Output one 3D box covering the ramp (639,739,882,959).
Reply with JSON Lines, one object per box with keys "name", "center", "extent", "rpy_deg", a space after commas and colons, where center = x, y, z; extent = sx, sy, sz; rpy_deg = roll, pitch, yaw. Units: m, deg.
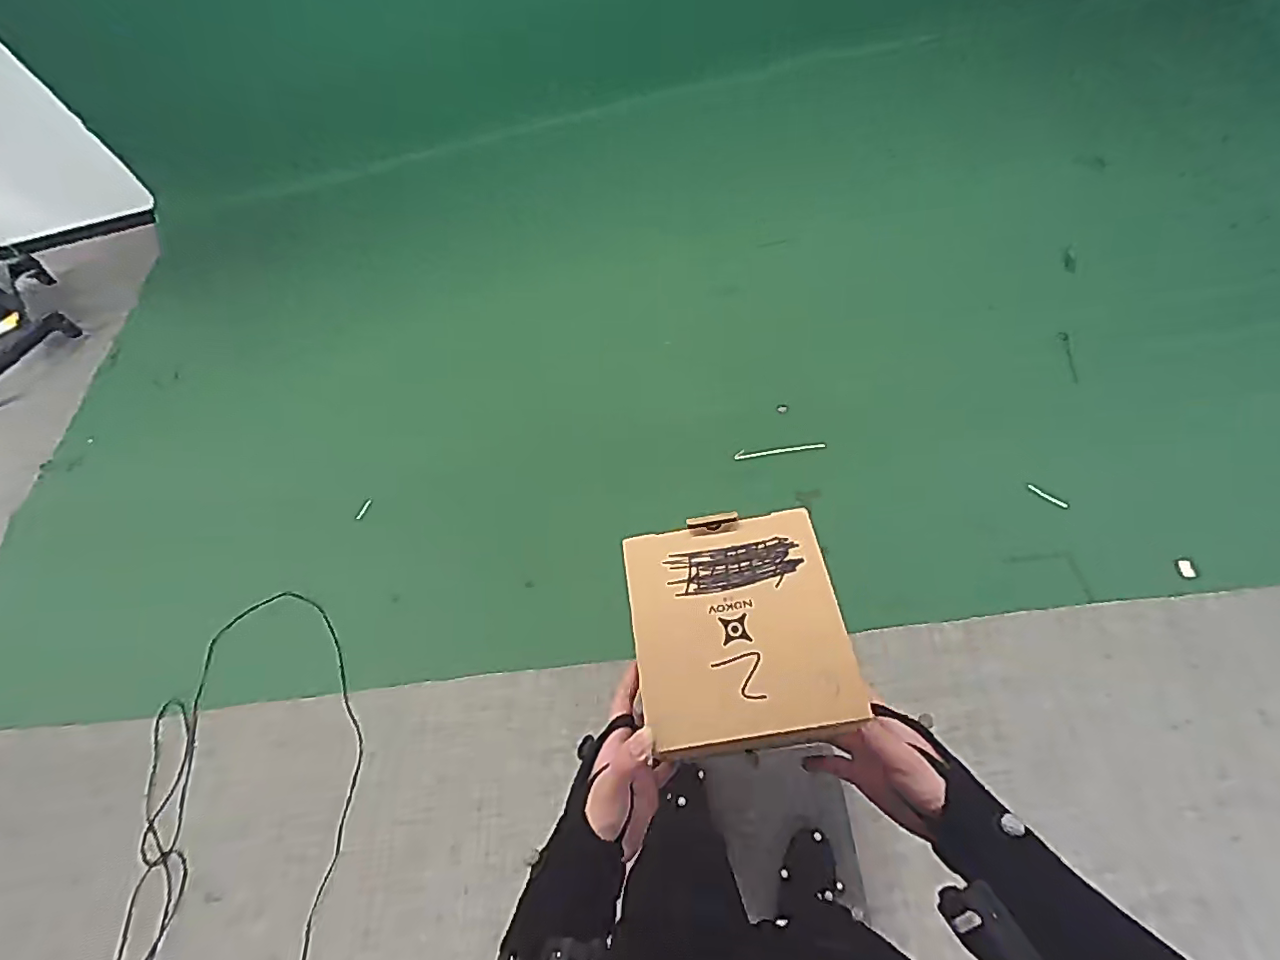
{"name": "ramp", "center": [0.299, 1.138, 1.191], "extent": [0.509, 0.206, 0.991], "rpy_deg": [-11, 61, 5]}
